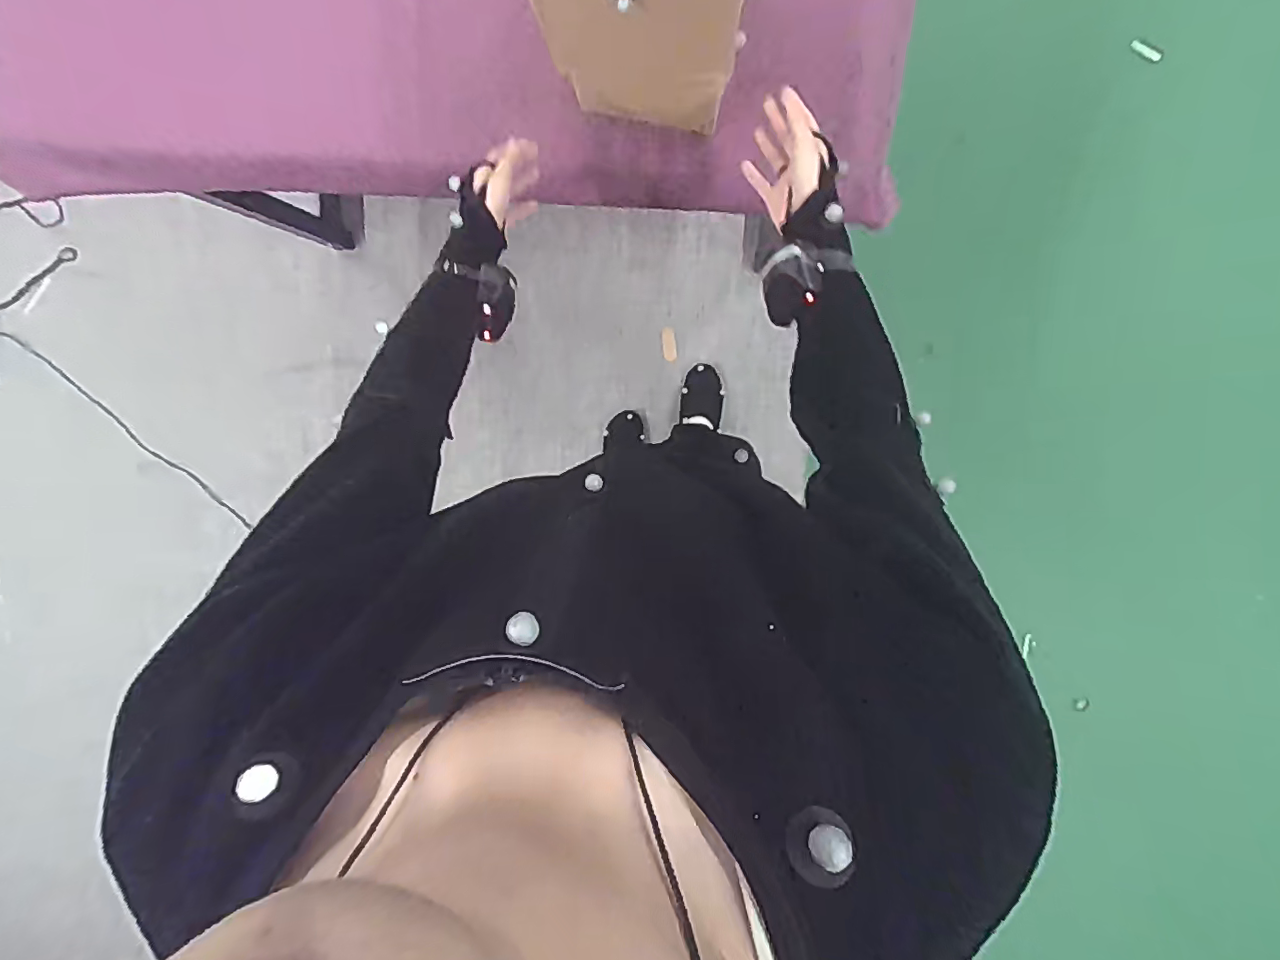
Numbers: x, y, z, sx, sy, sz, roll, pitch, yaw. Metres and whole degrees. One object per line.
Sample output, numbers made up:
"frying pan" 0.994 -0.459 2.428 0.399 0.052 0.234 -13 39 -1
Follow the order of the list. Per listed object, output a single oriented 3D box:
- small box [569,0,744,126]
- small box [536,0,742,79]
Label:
"small box" 0.020 -0.522 0.593 0.179 0.176 0.168 13 101 3
"small box" 0.004 -0.463 0.439 0.179 0.176 0.168 8 101 4
